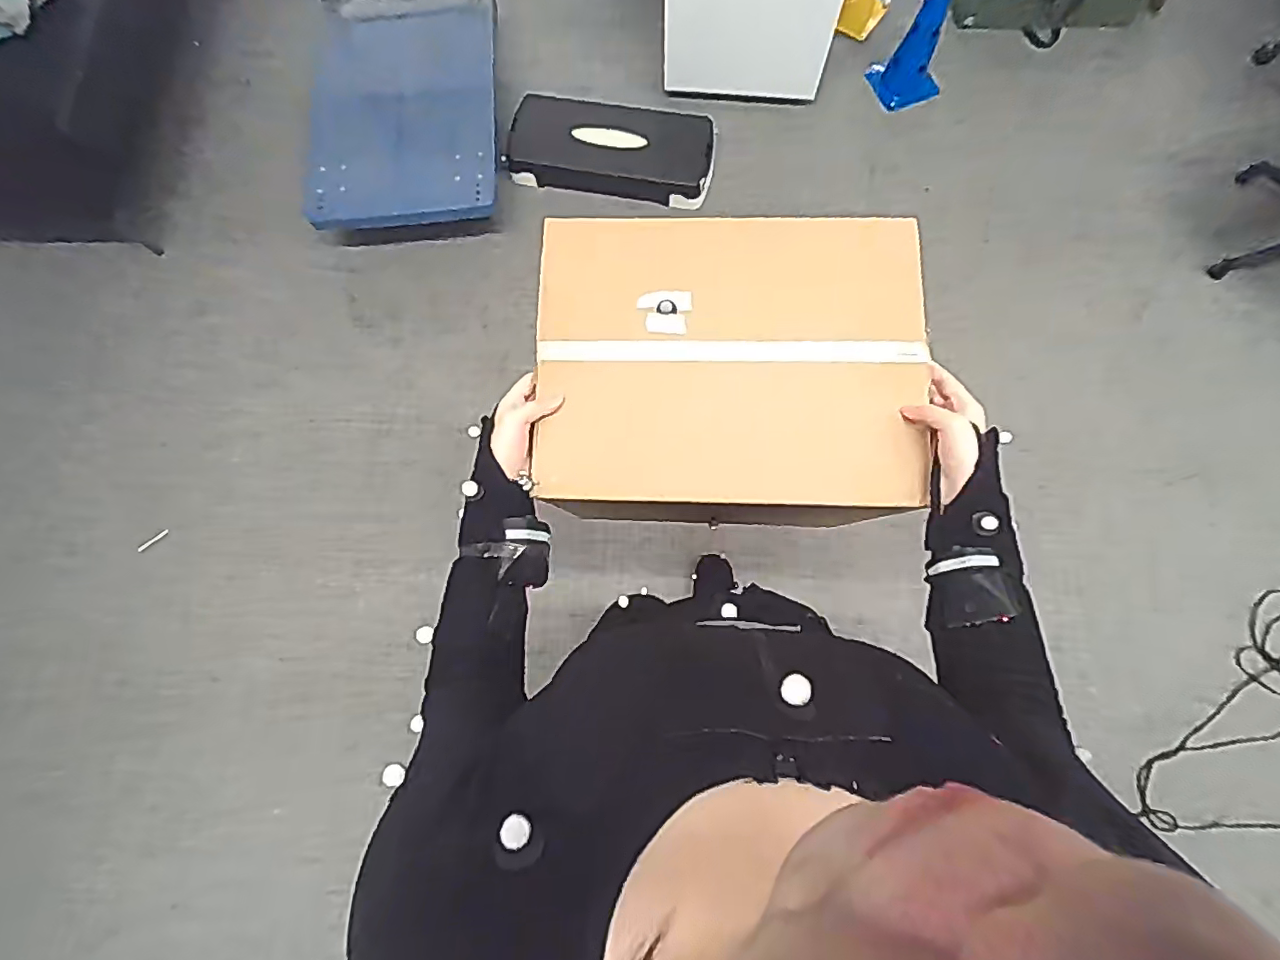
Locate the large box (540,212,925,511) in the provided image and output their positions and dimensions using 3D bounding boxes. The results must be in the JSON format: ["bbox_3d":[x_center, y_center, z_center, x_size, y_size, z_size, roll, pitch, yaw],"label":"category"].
[{"bbox_3d":[0.105,-0.119,0.726,0.408,0.320,0.320,1,82,4],"label":"large box"}]
